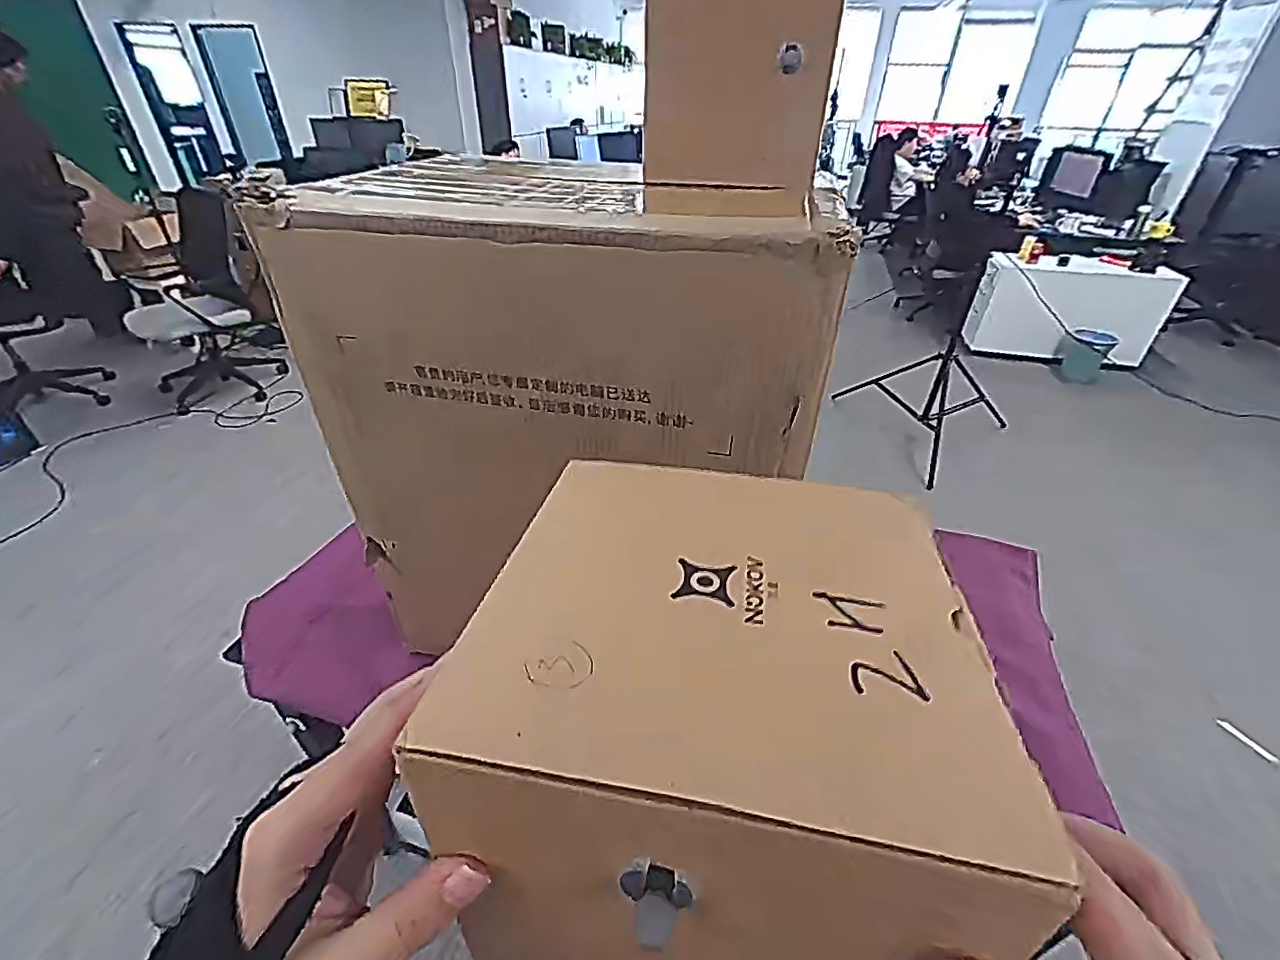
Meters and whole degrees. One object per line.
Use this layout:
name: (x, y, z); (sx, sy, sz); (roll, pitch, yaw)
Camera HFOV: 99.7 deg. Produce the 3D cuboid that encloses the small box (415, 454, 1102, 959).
small box: (0.036, 0.106, 0.242); (0.179, 0.176, 0.168); (7, 33, 9)
